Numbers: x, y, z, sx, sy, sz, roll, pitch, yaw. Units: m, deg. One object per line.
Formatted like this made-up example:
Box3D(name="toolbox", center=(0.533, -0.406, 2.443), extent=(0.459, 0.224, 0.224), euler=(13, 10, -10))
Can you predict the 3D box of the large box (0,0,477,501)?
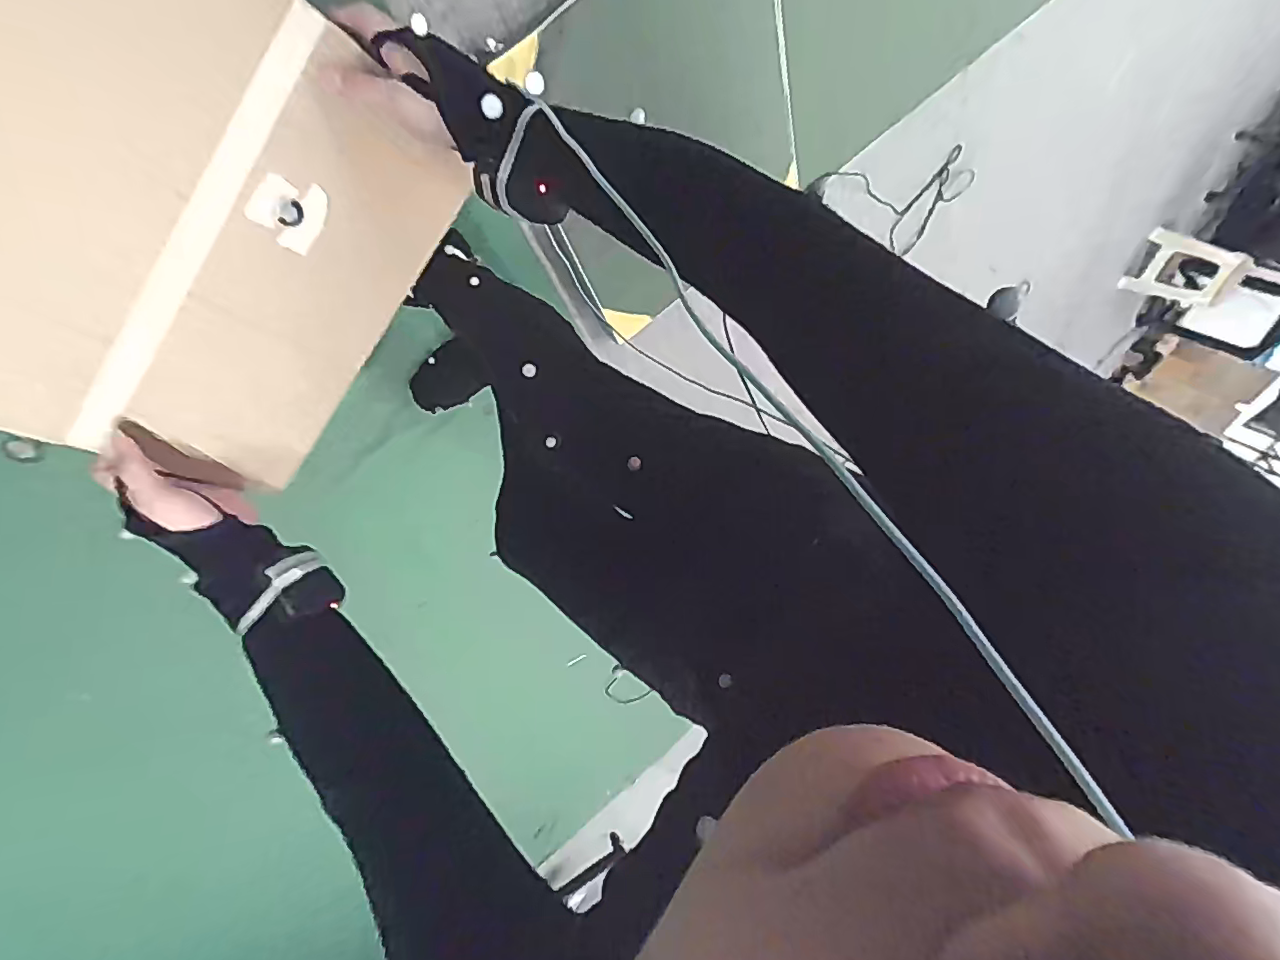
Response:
Box3D(name="large box", center=(-0.438, -0.254, 0.546), extent=(0.320, 0.320, 0.408), euler=(26, 104, -46))
